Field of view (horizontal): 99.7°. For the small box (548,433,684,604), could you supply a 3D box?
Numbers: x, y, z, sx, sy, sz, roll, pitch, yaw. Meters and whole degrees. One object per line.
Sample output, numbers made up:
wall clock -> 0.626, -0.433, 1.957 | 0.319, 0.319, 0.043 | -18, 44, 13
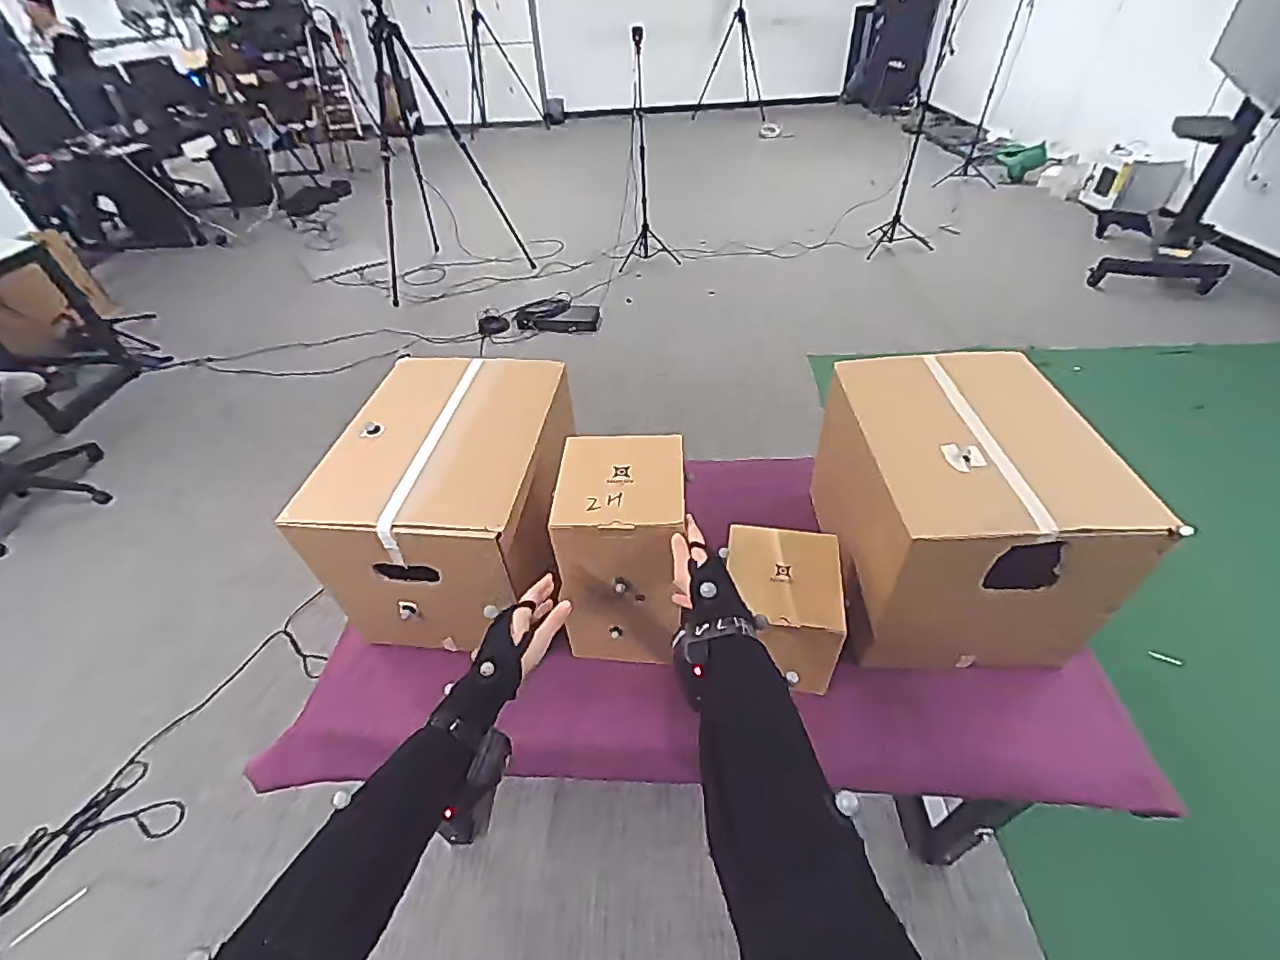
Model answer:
small box -> -0.022, 0.051, 0.760 | 0.168, 0.176, 0.179 | -1, 42, 4

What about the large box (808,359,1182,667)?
large box -> 0.488, 0.045, 0.877 | 0.320, 0.320, 0.408 | -3, 43, 4
